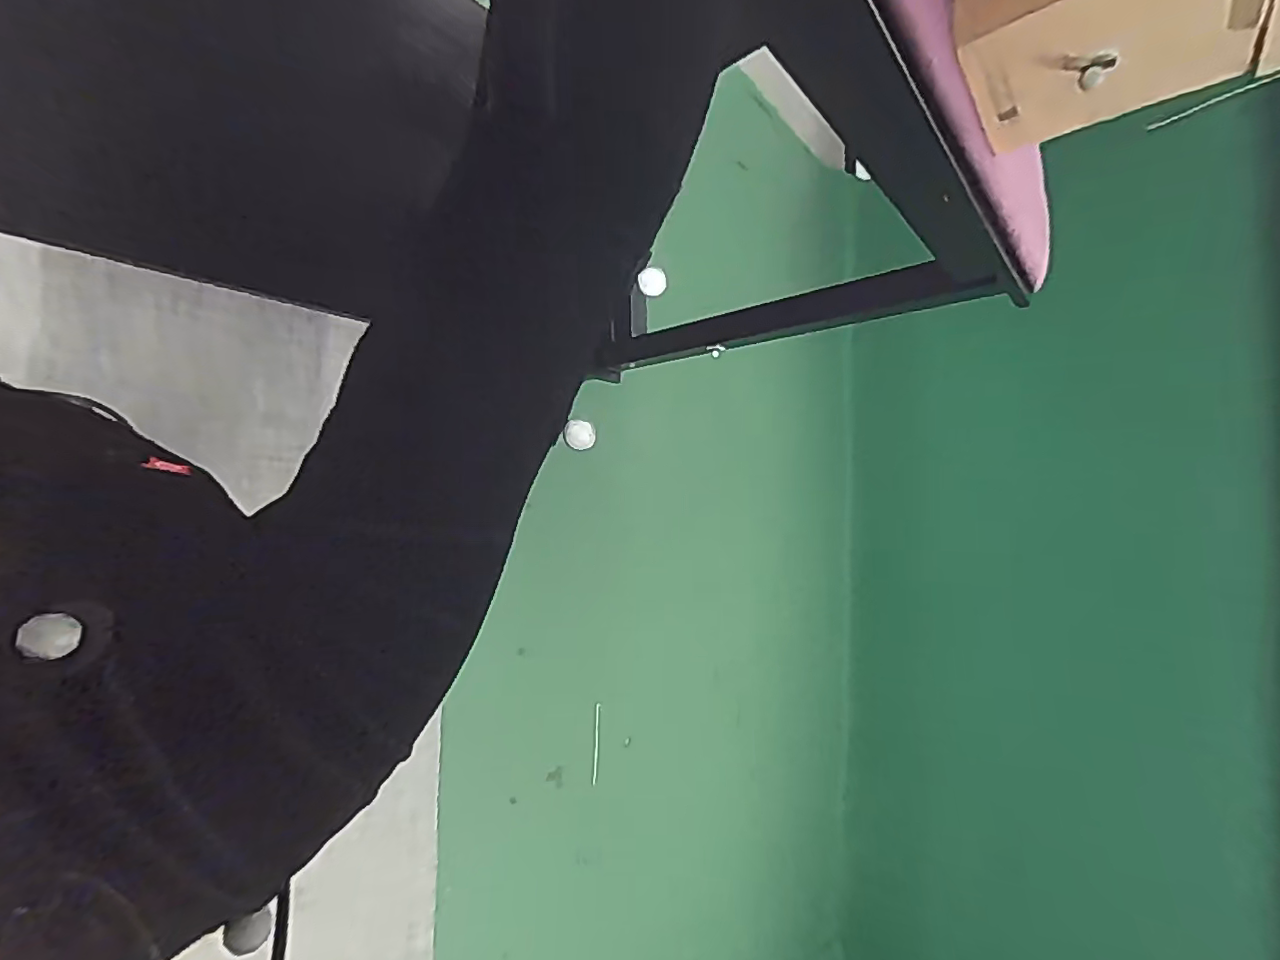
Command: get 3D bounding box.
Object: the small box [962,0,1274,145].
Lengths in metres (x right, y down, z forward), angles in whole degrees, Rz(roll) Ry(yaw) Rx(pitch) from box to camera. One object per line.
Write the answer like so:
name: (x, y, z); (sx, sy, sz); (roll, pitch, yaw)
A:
small box: (0.352, -0.397, 0.405); (0.168, 0.176, 0.179); (4, 88, -48)
